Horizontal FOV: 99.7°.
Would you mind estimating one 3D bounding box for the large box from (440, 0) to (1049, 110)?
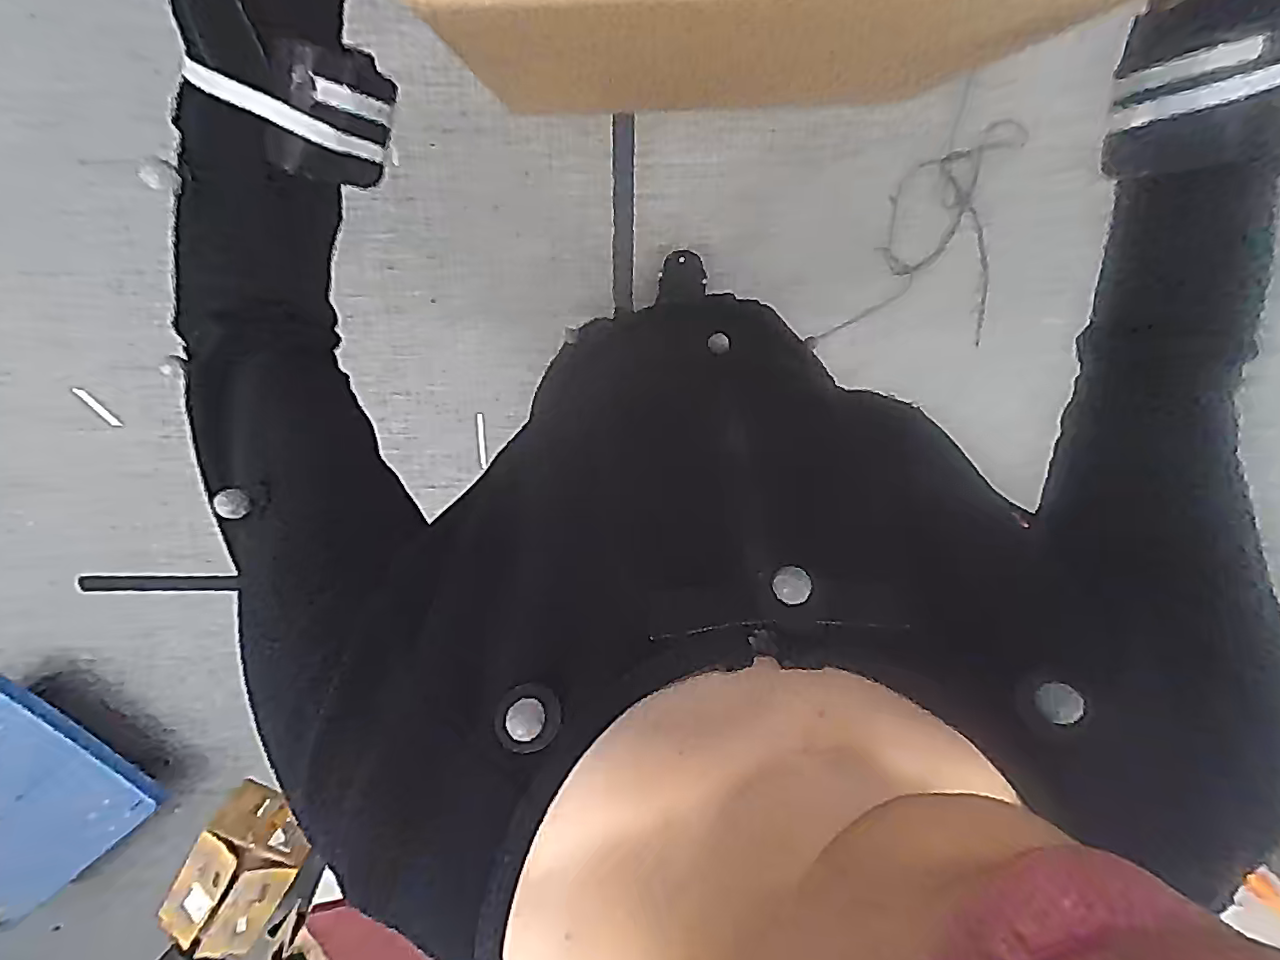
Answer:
[{"bbox_3d":[0.066,-0.463,0.348,0.408,0.320,0.320,-3,115,-1],"label":"large box"}]
